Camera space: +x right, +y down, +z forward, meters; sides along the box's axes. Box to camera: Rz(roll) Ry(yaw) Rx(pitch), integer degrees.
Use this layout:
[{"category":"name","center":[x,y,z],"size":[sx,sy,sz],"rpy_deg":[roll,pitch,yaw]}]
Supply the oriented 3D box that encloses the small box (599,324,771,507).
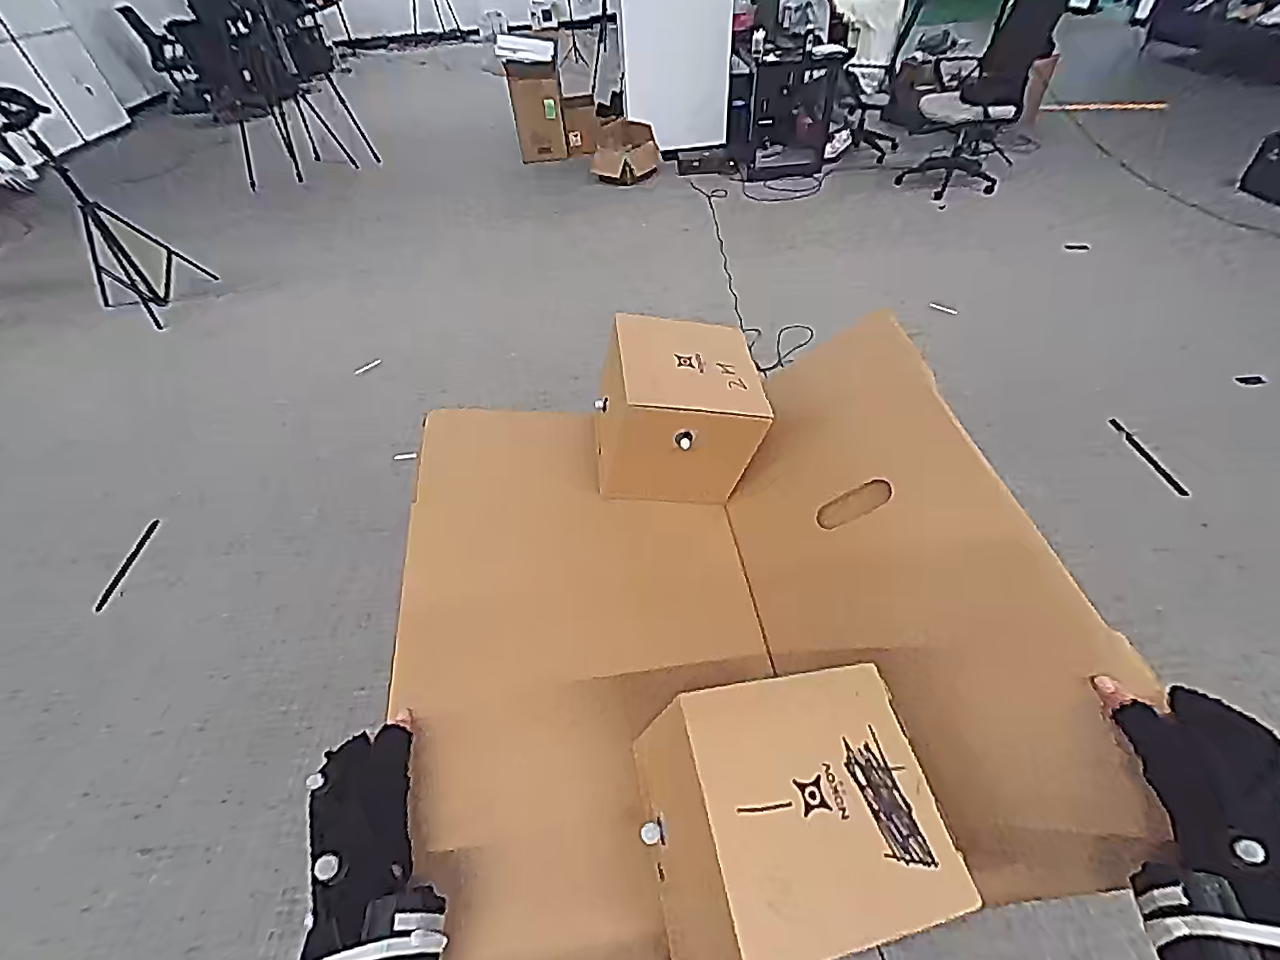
[{"category":"small box","center":[0.043,-0.078,0.708],"size":[0.179,0.176,0.168],"rpy_deg":[4,51,-14]}]
